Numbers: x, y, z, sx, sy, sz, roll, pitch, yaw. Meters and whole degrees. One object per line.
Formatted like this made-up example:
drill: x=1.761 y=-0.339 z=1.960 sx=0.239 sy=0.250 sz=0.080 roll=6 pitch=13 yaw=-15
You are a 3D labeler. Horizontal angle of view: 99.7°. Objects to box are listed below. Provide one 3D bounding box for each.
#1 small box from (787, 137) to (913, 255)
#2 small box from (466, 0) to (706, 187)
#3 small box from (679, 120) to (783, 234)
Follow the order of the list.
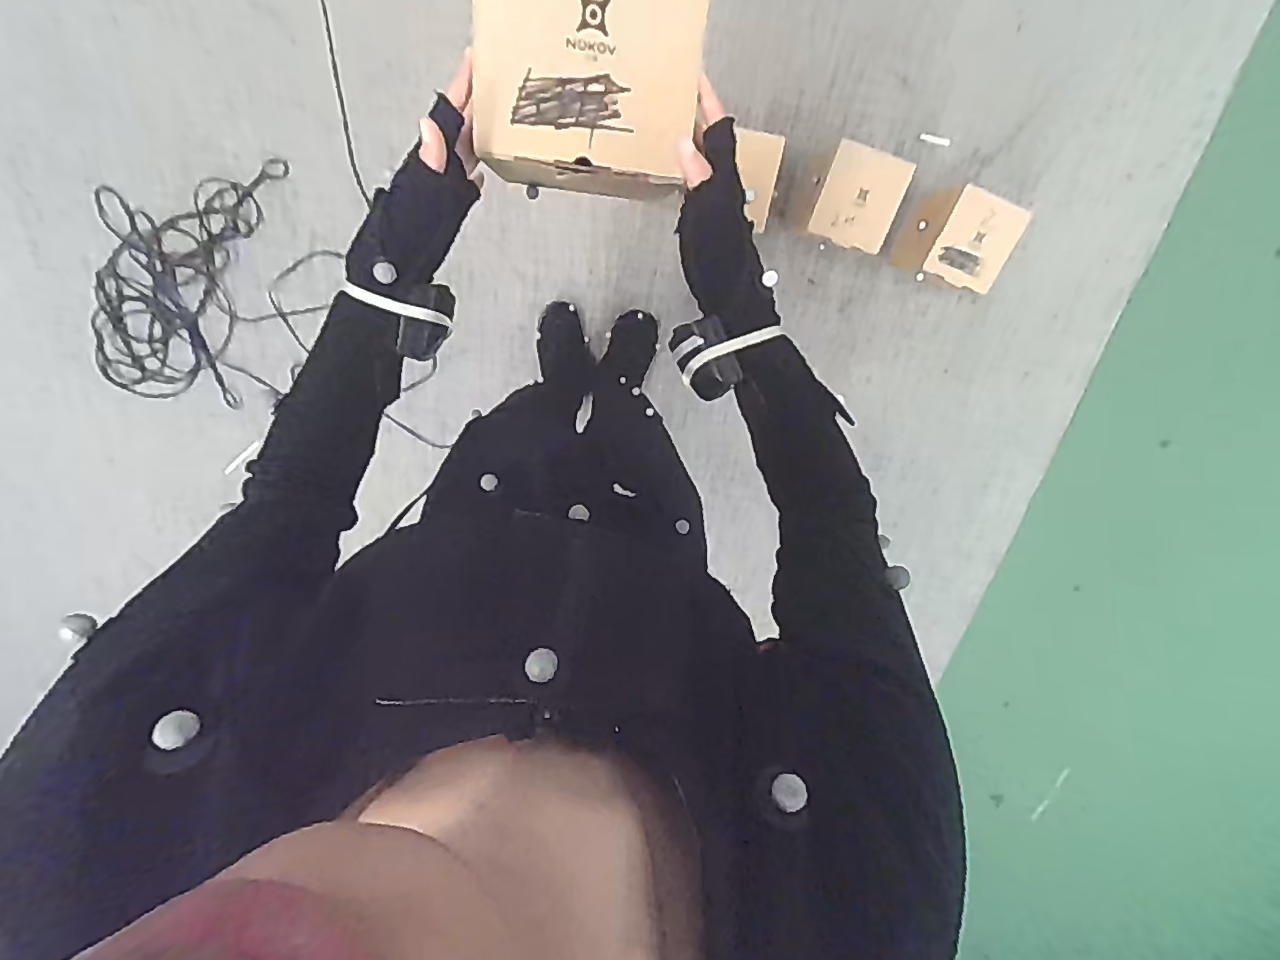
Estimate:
small box: x=0.436 y=-0.600 z=1.160 sx=0.168 sy=0.176 sz=0.179 roll=15 pitch=114 yaw=-7
small box: x=-0.043 y=-0.354 z=0.447 sx=0.168 sy=0.176 sz=0.179 roll=4 pitch=112 yaw=-8
small box: x=0.182 y=-0.629 z=1.143 sx=0.168 sy=0.176 sz=0.179 roll=8 pitch=114 yaw=-5
